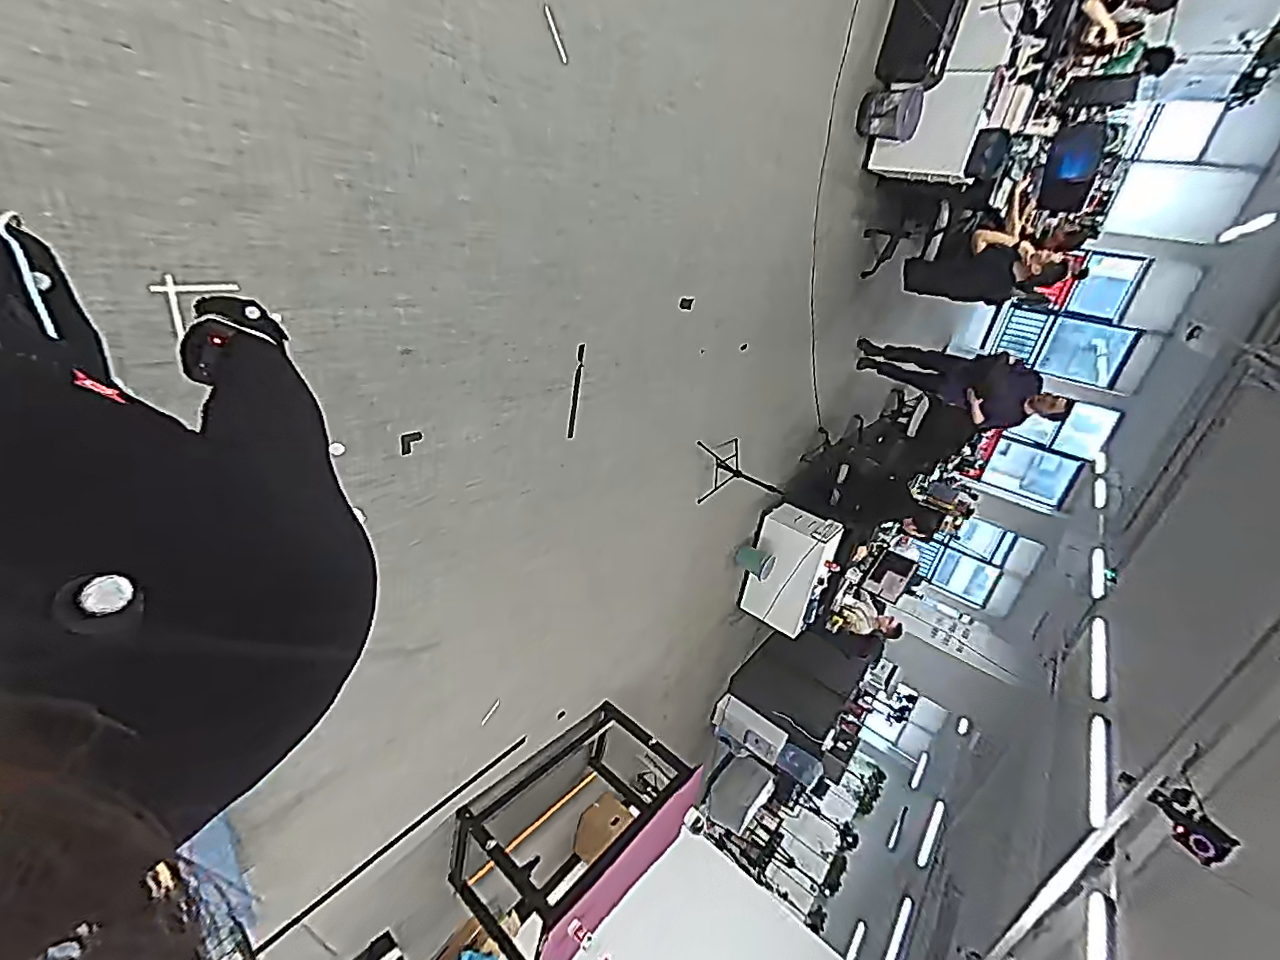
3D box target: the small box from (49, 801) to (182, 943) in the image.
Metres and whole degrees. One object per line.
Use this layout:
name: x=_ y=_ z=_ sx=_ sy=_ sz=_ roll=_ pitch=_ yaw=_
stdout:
small box: x=-1.193 y=0.878 z=1.233 sx=0.168 sy=0.176 sz=0.179 roll=-24 pitch=132 yaw=-46
